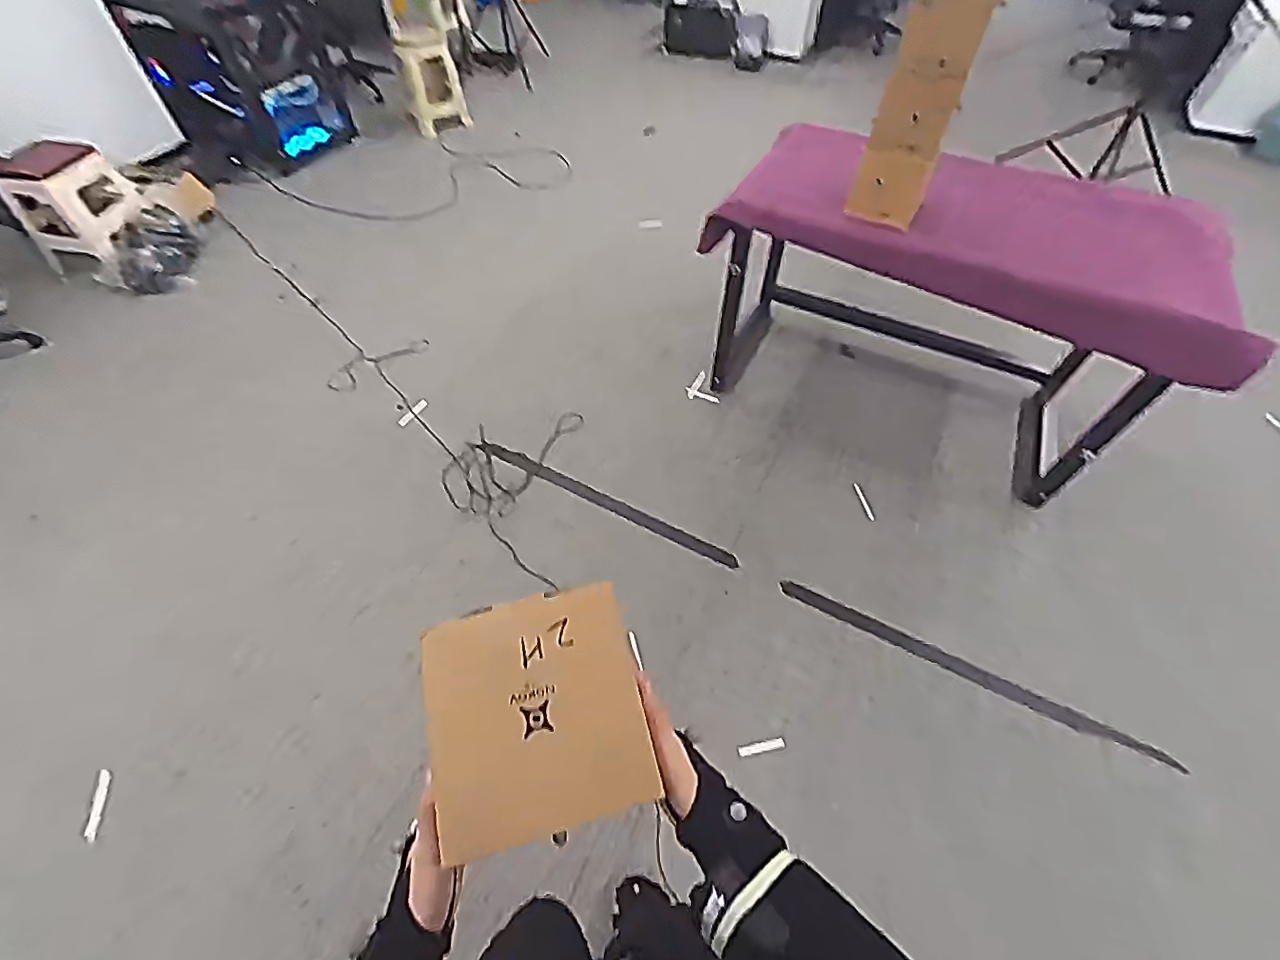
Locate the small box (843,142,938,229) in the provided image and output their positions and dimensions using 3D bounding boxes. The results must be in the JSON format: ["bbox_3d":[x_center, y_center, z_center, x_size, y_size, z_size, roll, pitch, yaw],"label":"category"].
[{"bbox_3d":[0.654,-0.793,1.429,0.168,0.176,0.179,24,56,16],"label":"small box"}]

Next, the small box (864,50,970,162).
[{"bbox_3d":[0.658,-0.896,1.301,0.168,0.176,0.179,22,56,14],"label":"small box"}]
